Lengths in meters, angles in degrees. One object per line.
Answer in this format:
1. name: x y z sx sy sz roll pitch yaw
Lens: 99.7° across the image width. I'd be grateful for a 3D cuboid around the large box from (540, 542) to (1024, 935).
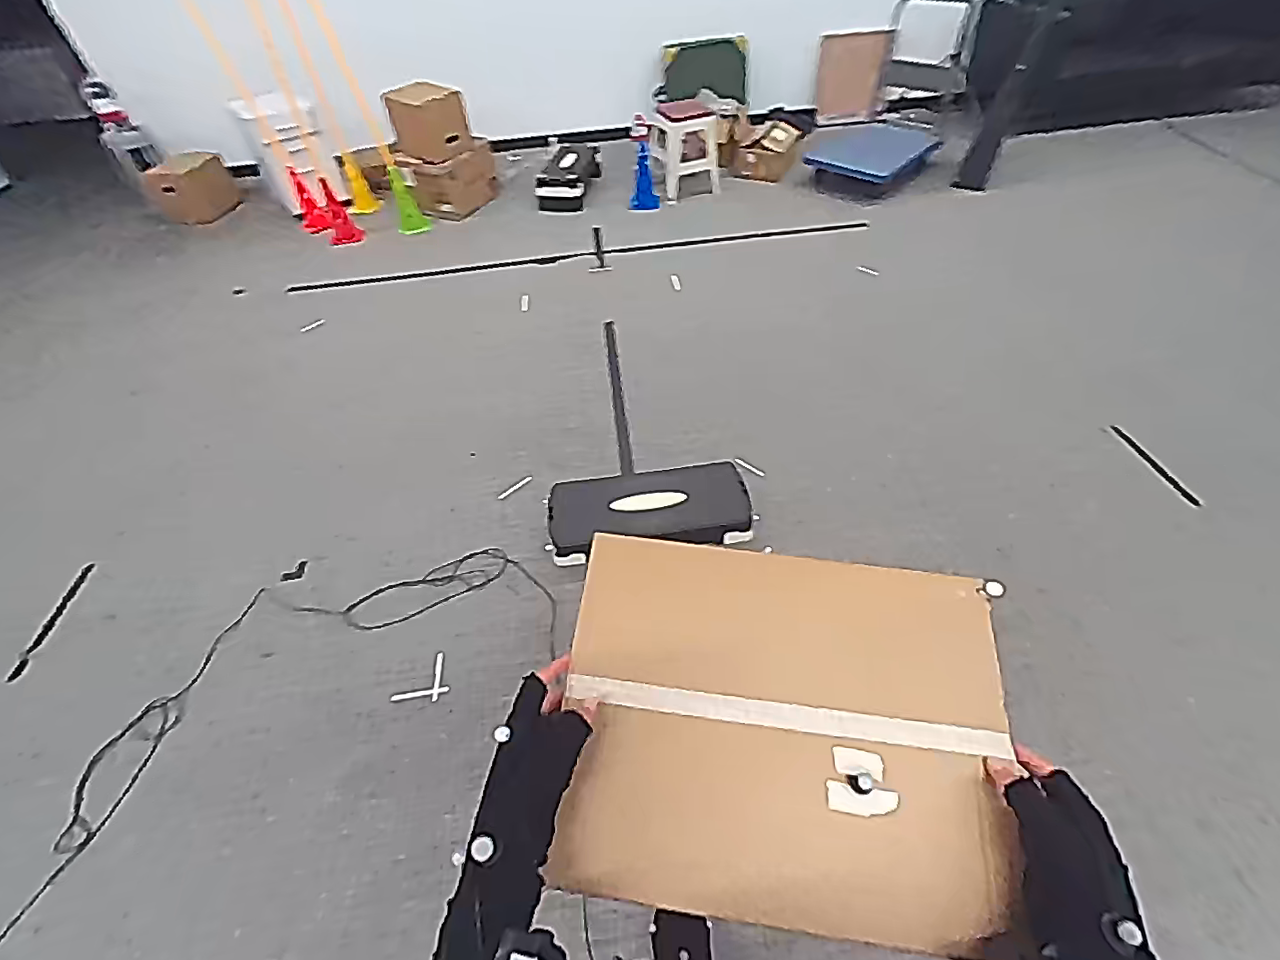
1. large box: 0.126 0.287 0.643 0.408 0.320 0.320 5 62 4
